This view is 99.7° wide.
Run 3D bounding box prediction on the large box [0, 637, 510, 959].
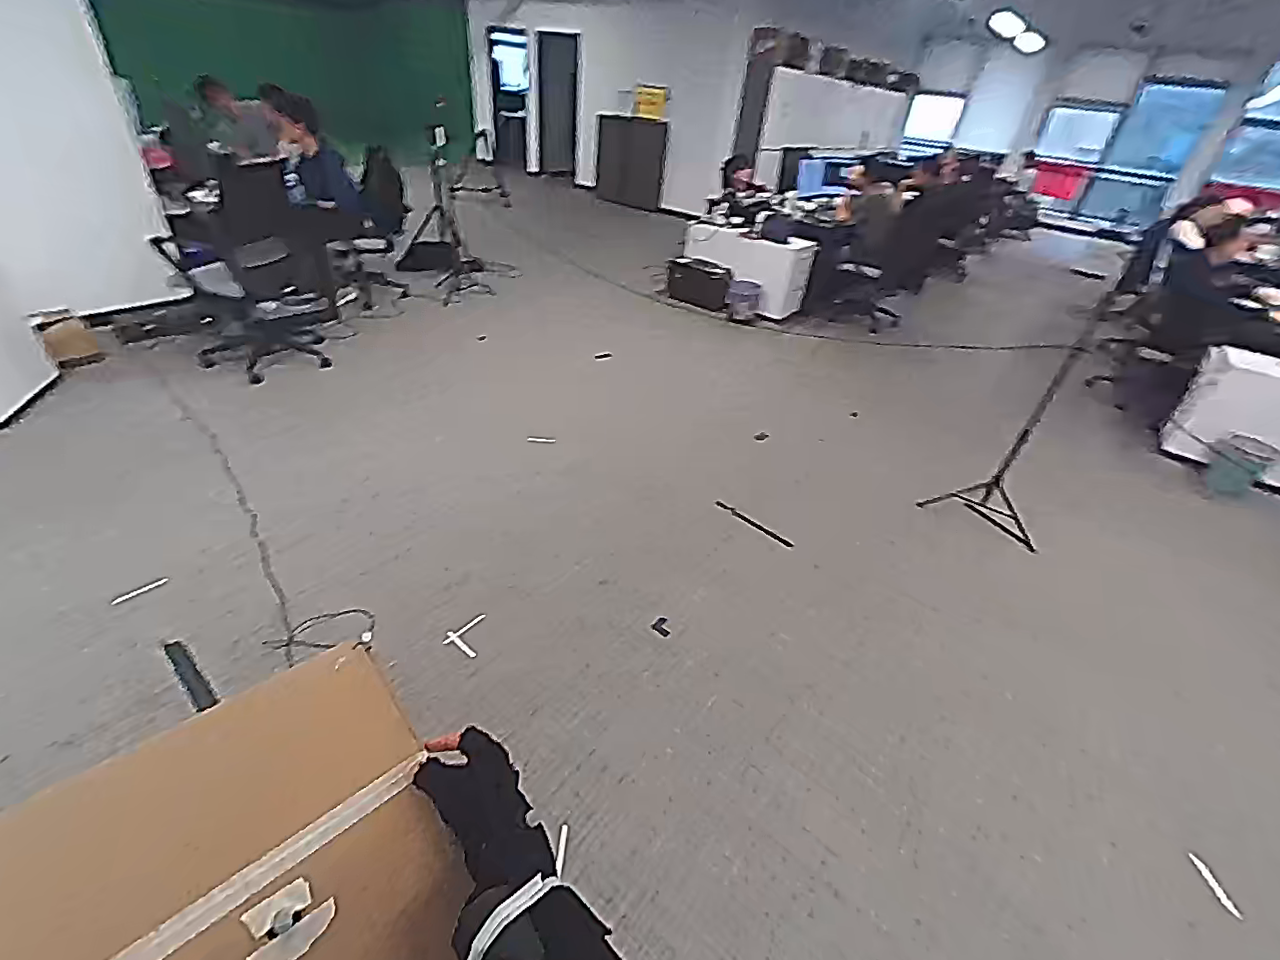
[{"bbox_3d":[-0.387,0.442,0.523,0.408,0.320,0.320,-25,61,-36],"label":"large box"}]
